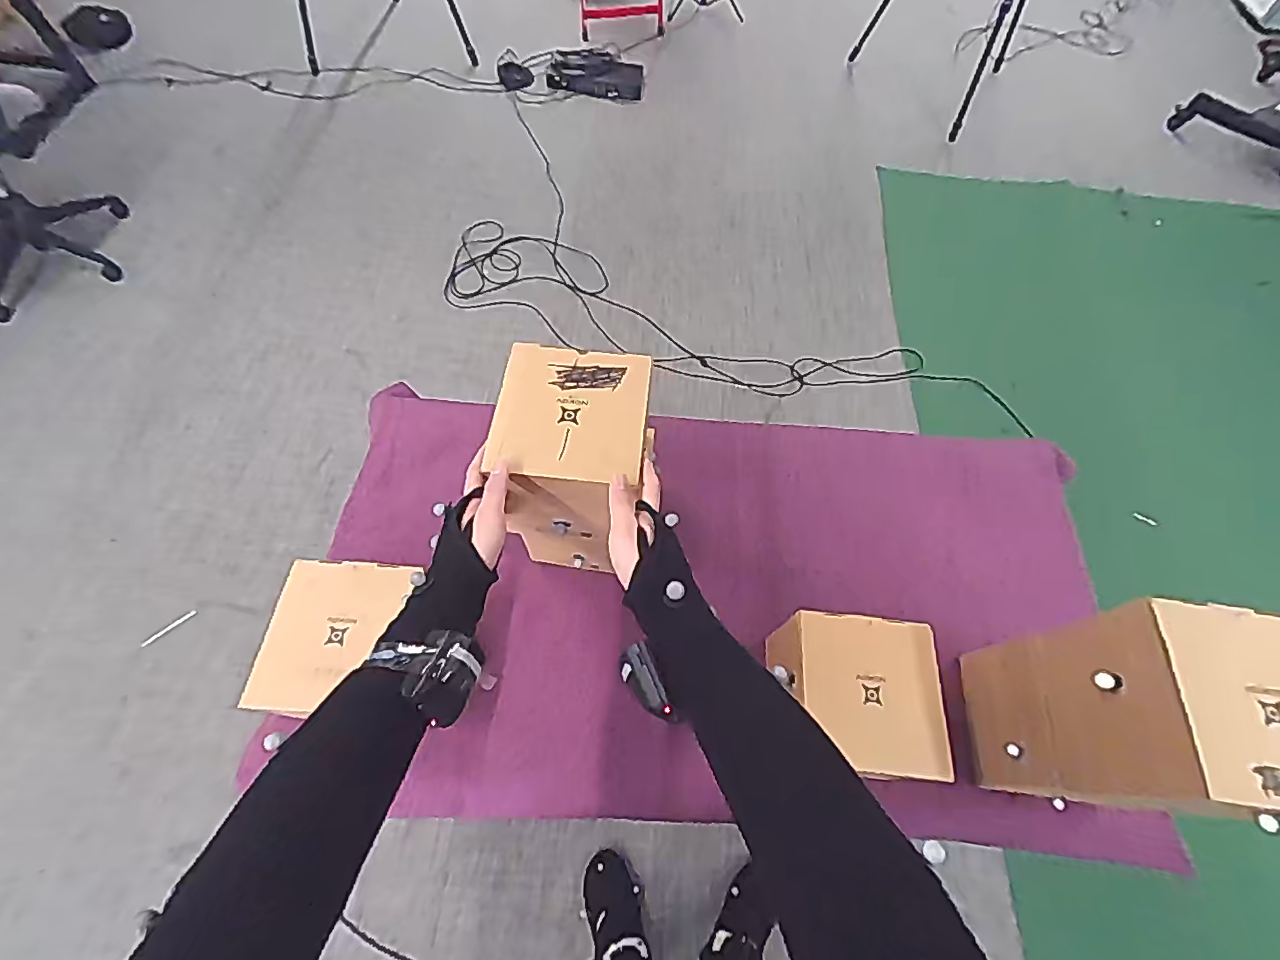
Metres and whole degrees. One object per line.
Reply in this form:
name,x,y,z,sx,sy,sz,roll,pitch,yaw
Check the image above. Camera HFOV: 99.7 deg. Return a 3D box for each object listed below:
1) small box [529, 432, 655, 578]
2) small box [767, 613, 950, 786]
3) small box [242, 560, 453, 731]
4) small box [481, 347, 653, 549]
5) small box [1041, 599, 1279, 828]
small box,-0.075,0.031,0.821,0.168,0.176,0.179,9,63,2
small box,0.265,0.288,0.701,0.168,0.176,0.179,6,60,1
small box,-0.358,0.221,0.707,0.168,0.176,0.179,4,61,0
small box,-0.076,-0.034,0.659,0.168,0.176,0.179,5,62,2
small box,0.553,0.240,0.549,0.168,0.176,0.179,7,61,3
